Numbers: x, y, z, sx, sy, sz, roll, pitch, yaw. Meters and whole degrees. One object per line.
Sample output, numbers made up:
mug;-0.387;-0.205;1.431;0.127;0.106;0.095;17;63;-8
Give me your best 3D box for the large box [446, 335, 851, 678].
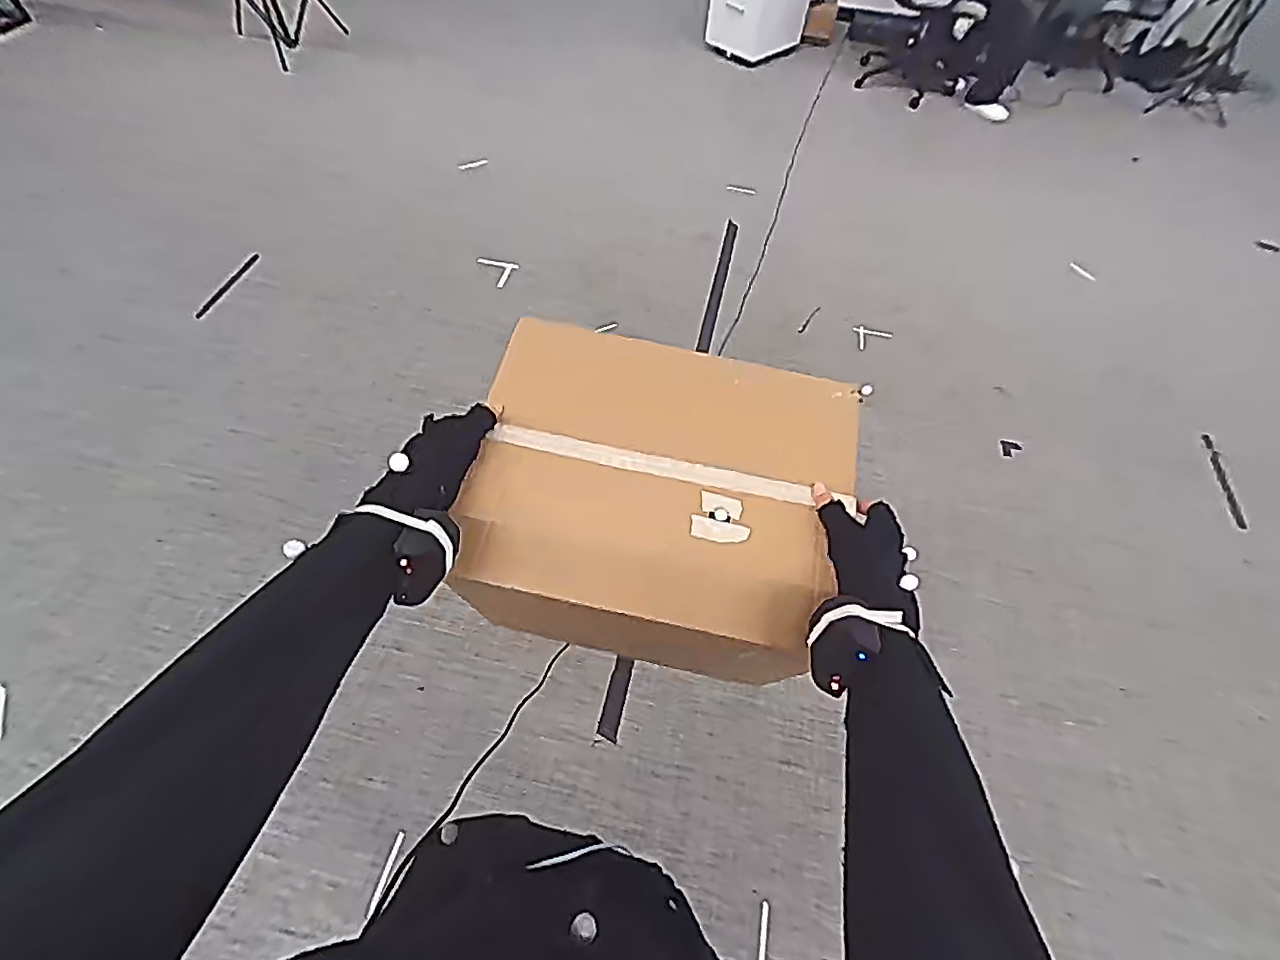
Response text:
large box;0.017;0.058;0.722;0.408;0.320;0.320;12;67;1
